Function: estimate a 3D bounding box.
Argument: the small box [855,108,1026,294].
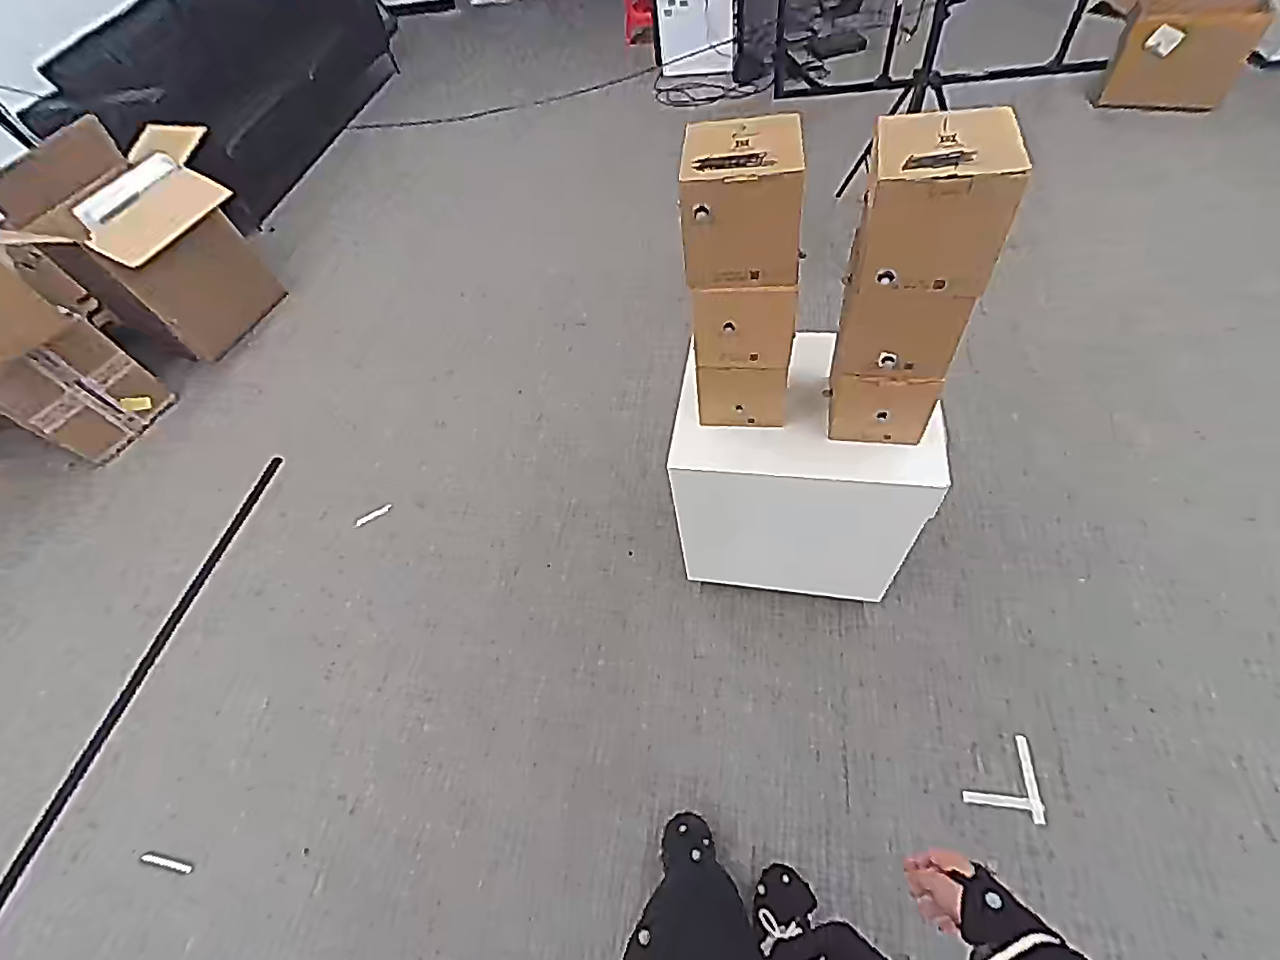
[{"bbox_3d":[0.398,-0.376,0.747,0.168,0.176,0.179,6,56,16],"label":"small box"}]

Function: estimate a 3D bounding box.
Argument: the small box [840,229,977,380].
[{"bbox_3d":[0.423,-0.286,0.882,0.168,0.176,0.179,4,57,15],"label":"small box"}]

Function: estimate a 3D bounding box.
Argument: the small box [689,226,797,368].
[{"bbox_3d":[0.182,-0.313,0.943,0.168,0.176,0.179,3,56,12],"label":"small box"}]

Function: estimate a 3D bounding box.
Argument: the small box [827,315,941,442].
[{"bbox_3d":[0.447,-0.187,1.011,0.168,0.176,0.179,5,58,15],"label":"small box"}]
